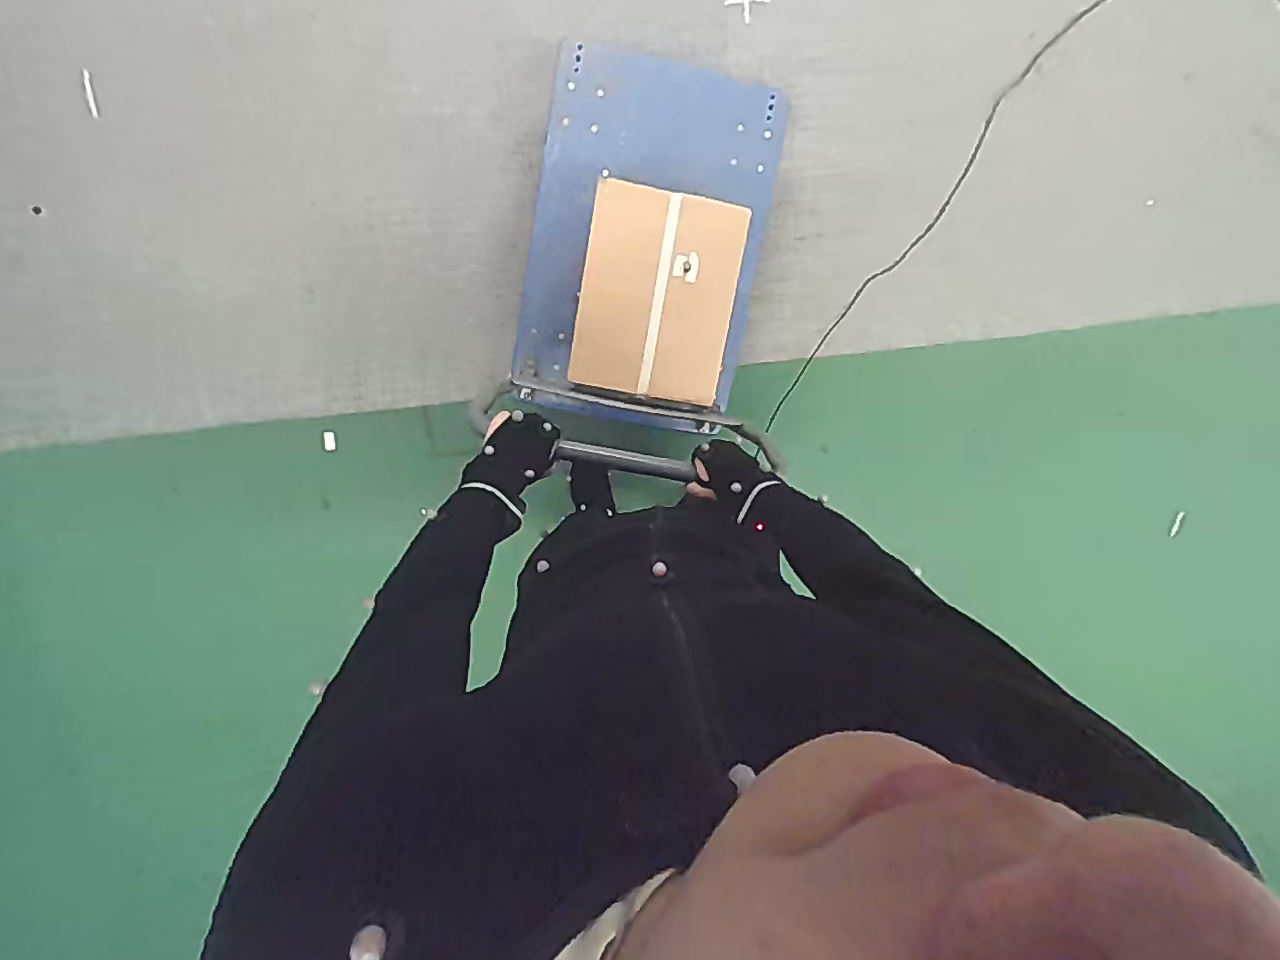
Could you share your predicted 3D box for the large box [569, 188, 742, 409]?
[{"bbox_3d":[0.021,-0.383,1.255,0.320,0.320,0.408,8,97,-6],"label":"large box"}]
